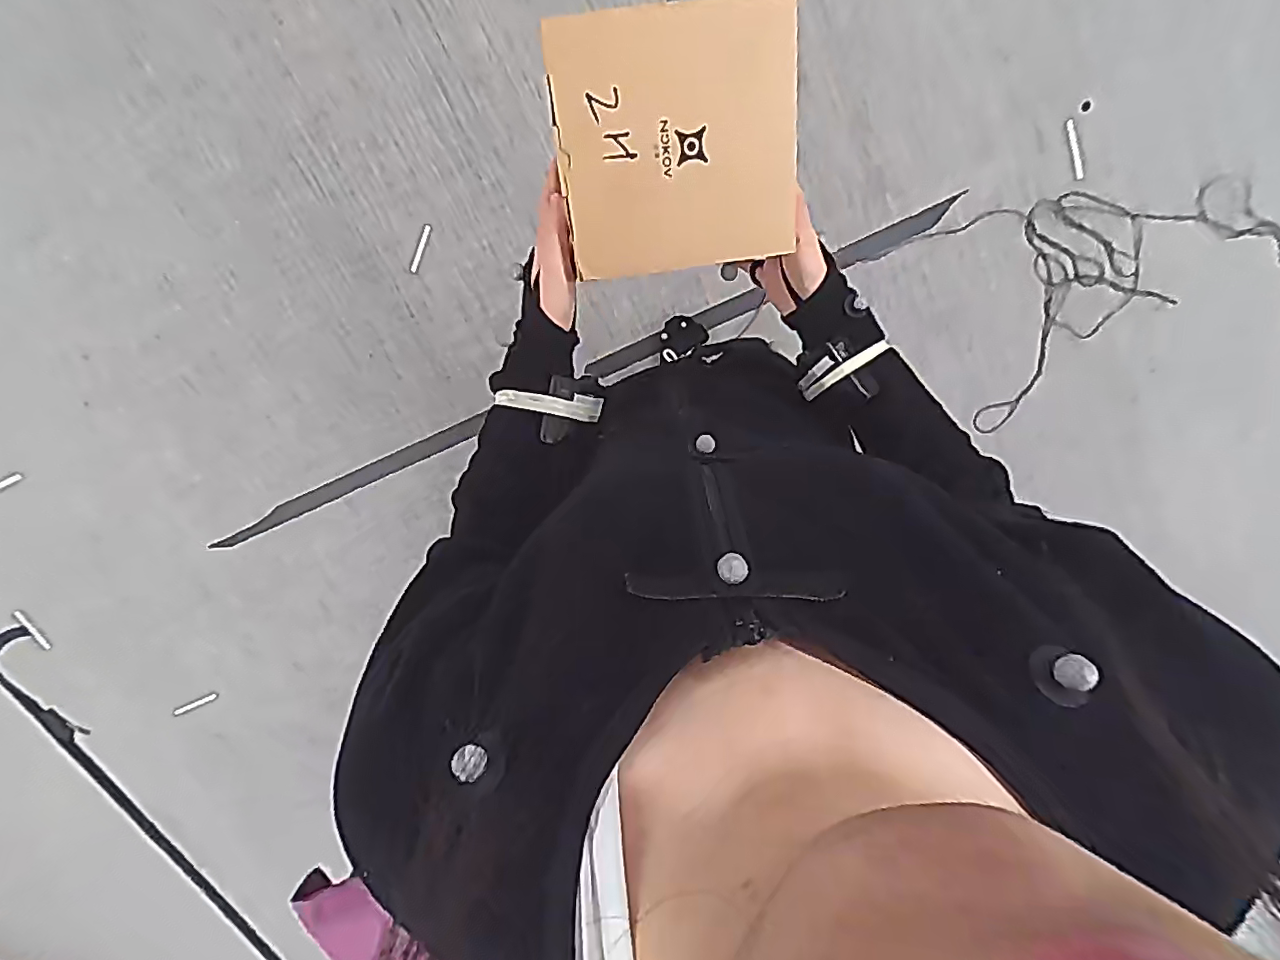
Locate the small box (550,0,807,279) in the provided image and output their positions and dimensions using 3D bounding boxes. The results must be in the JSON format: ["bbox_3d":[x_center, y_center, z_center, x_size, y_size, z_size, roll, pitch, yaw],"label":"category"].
[{"bbox_3d":[0.025,-0.273,0.460,0.179,0.176,0.168,-8,114,-2],"label":"small box"}]

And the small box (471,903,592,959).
[{"bbox_3d":[-0.183,0.872,0.910,0.168,0.176,0.179,-21,105,4],"label":"small box"}]
